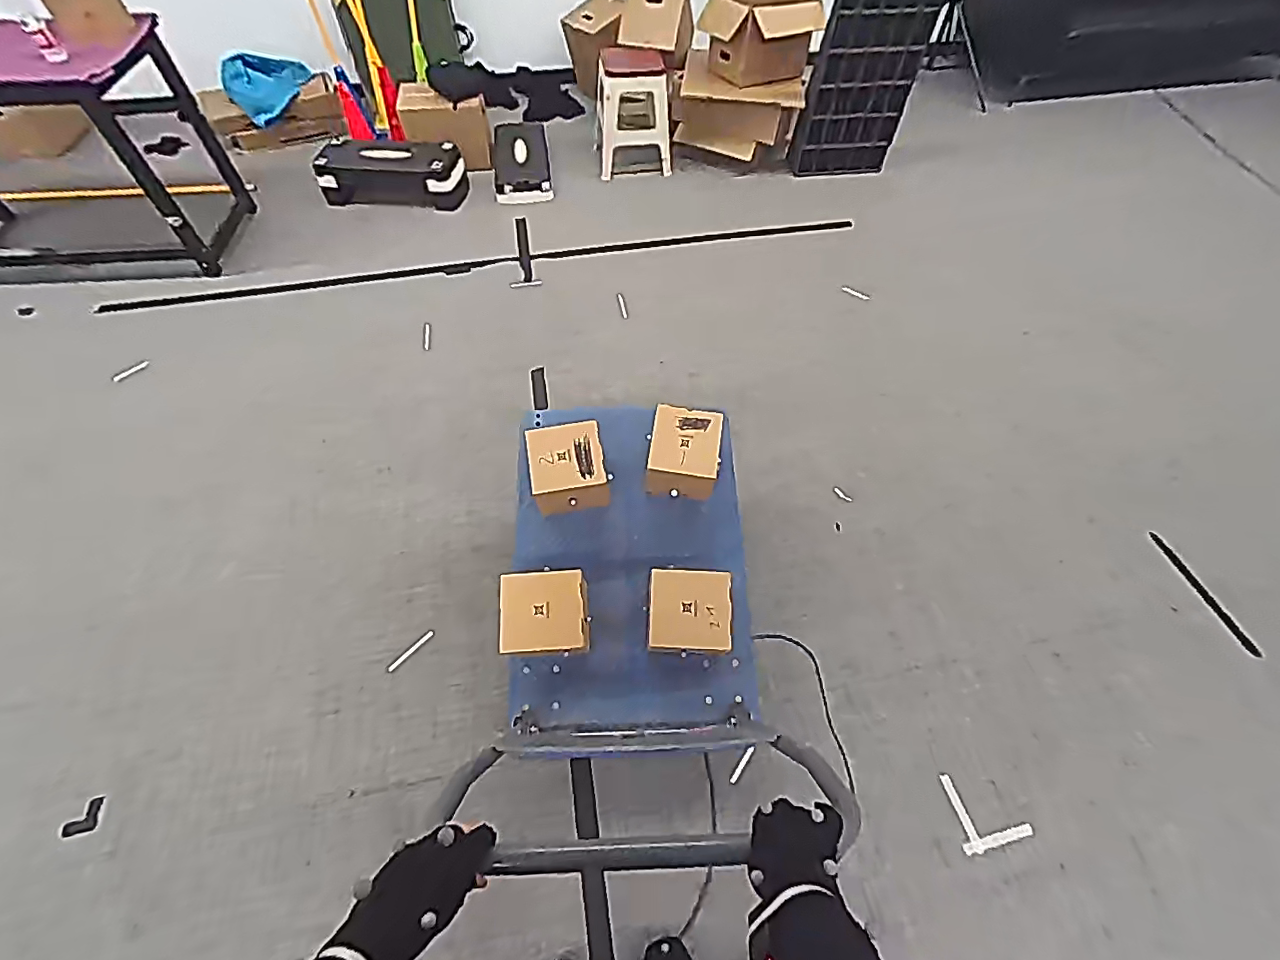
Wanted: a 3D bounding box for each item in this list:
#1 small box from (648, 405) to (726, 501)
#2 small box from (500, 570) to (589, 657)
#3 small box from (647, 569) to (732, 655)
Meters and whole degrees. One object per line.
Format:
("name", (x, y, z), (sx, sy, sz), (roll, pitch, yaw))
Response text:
("small box", (0.113, -0.064, 1.364), (0.168, 0.176, 0.179), (9, 70, 2))
("small box", (-0.209, 0.304, 1.218), (0.179, 0.176, 0.168), (-3, 69, -4))
("small box", (0.108, 0.304, 1.225), (0.179, 0.176, 0.168), (3, 70, 0))
